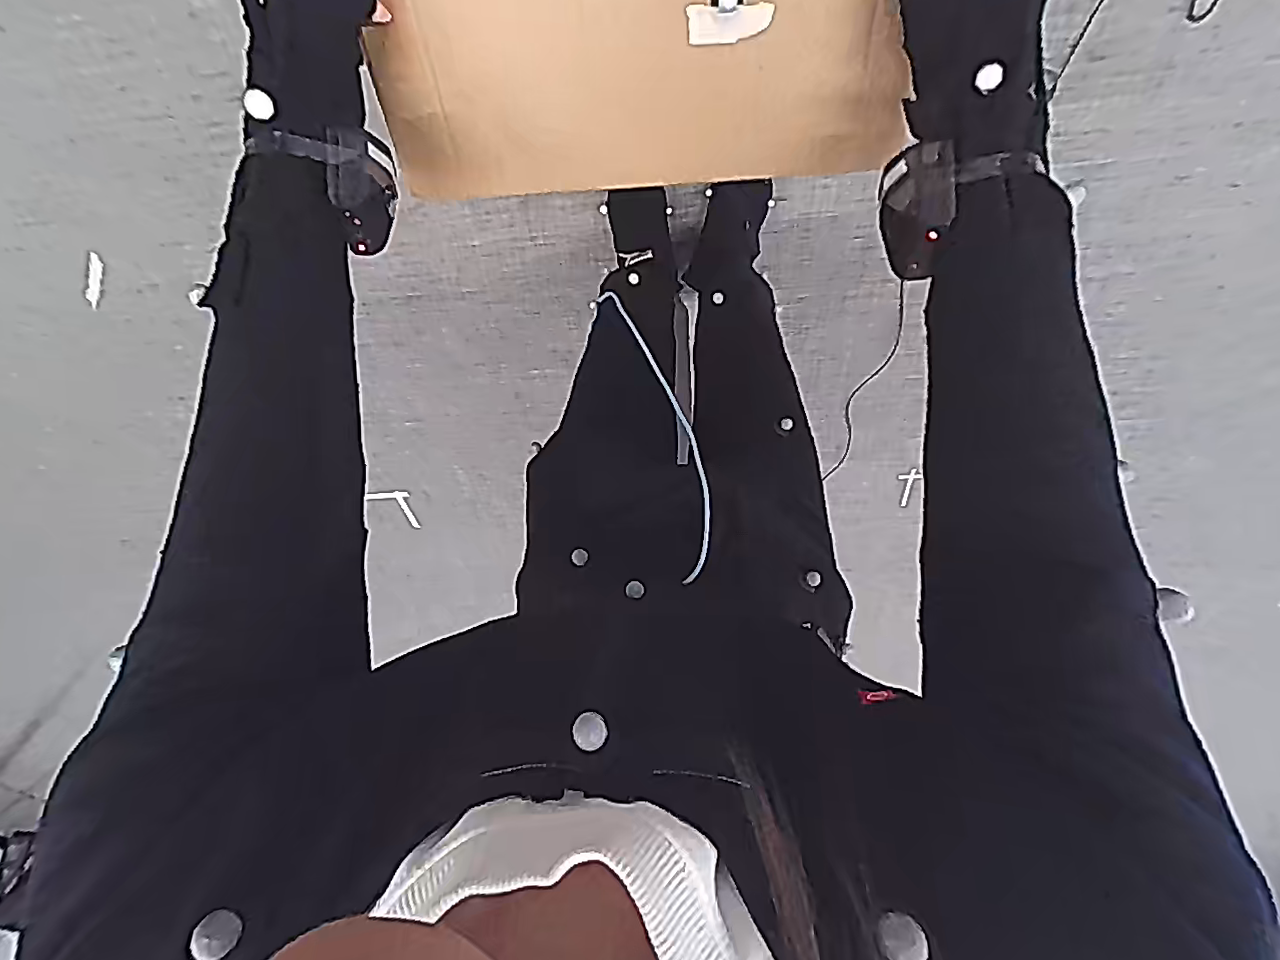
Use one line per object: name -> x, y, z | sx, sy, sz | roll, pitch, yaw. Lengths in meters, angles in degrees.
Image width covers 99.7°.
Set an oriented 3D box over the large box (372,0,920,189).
large box -> 0.003, -0.479, 0.473 | 0.408, 0.320, 0.320 | -2, 132, 6
